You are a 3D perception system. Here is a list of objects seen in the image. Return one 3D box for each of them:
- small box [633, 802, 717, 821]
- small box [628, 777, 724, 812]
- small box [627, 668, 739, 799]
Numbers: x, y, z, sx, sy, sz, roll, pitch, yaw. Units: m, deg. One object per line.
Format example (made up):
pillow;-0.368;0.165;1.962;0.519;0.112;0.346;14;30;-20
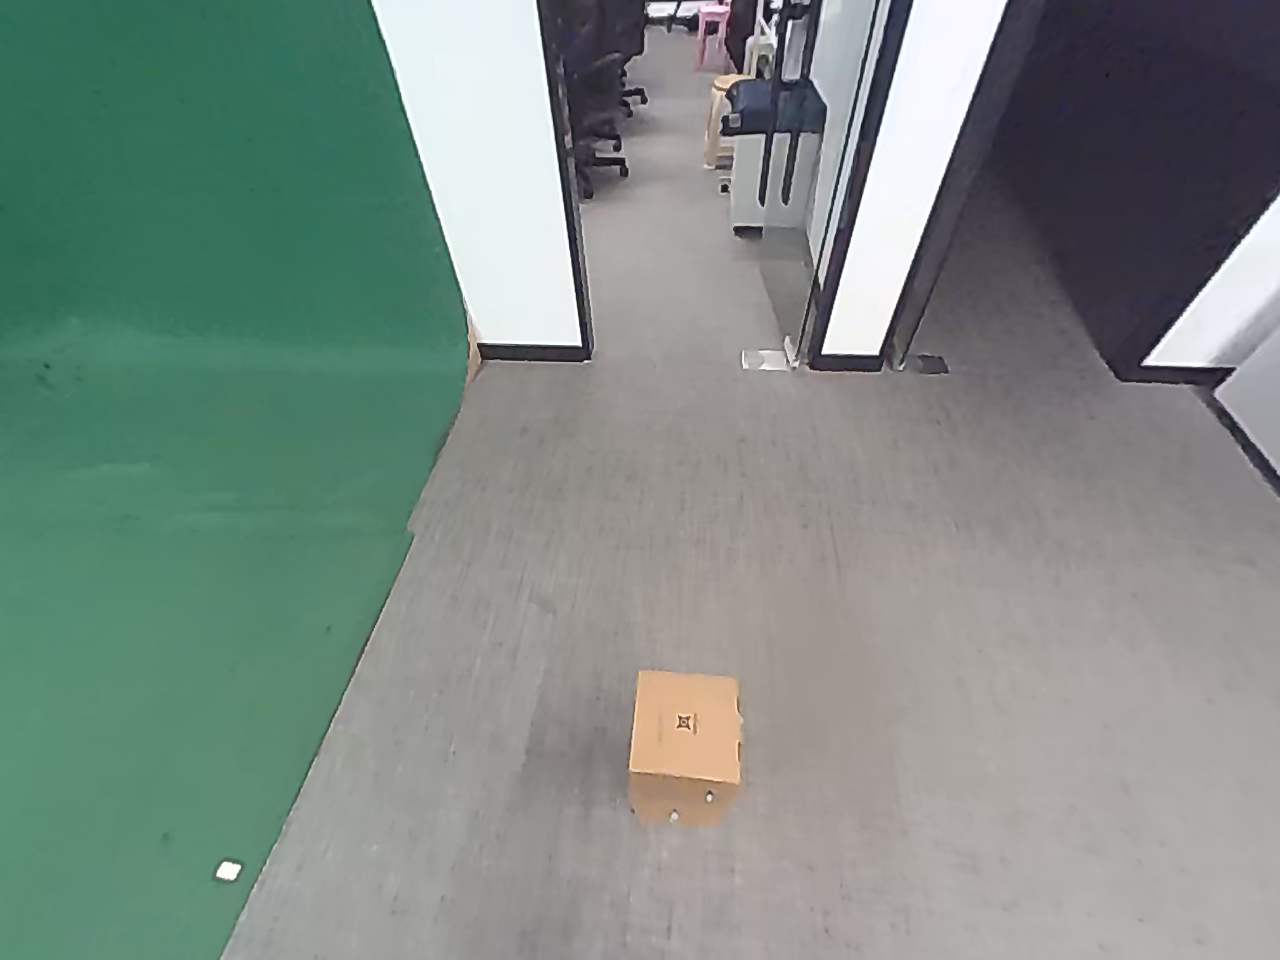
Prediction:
small box;0.082;0.649;1.210;0.179;0.176;0.168;2;49;7
small box;0.074;0.554;1.081;0.179;0.176;0.168;2;51;5
small box;0.076;0.449;0.952;0.179;0.176;0.168;2;48;6
